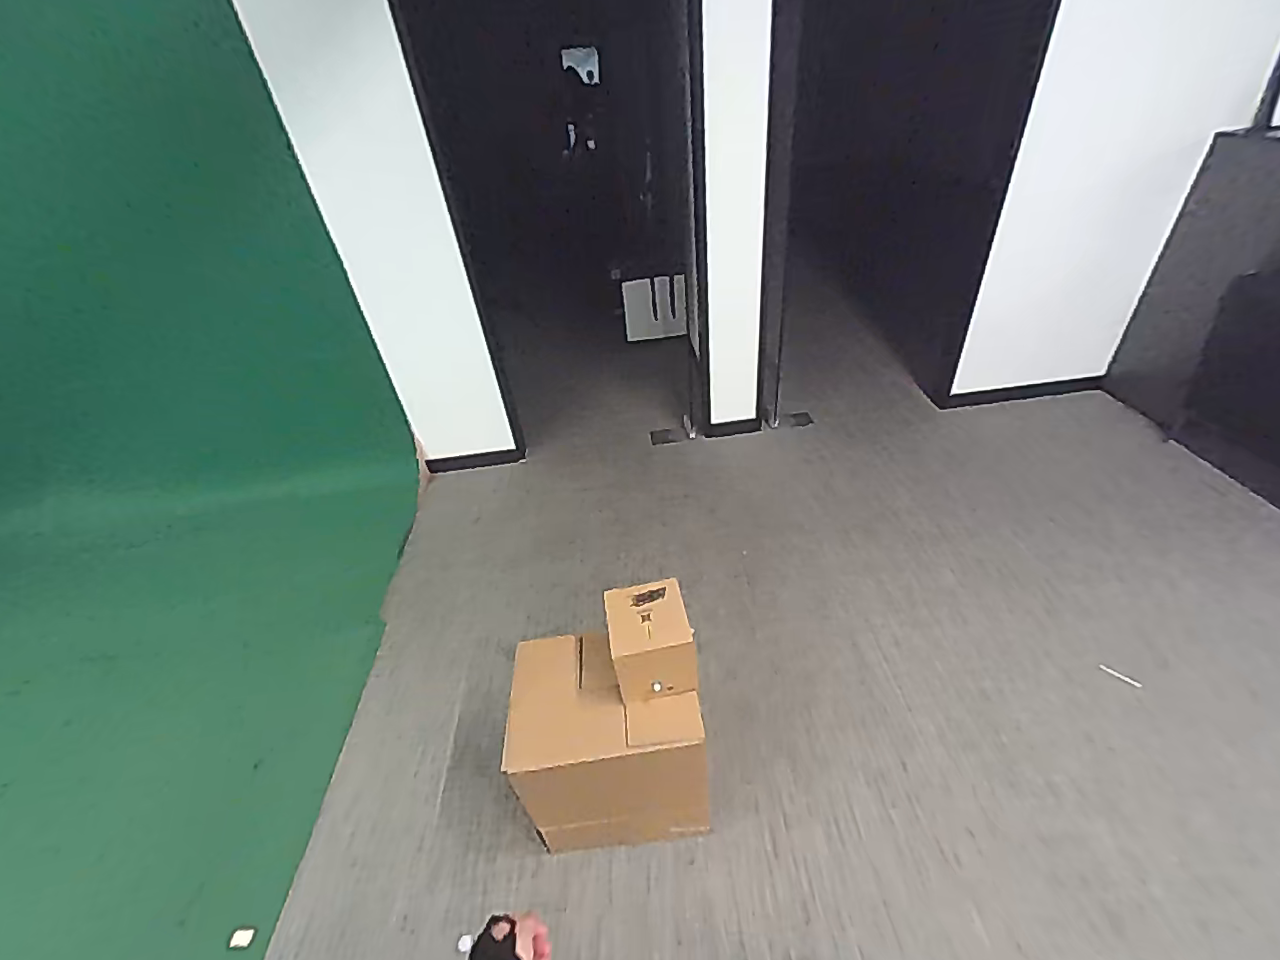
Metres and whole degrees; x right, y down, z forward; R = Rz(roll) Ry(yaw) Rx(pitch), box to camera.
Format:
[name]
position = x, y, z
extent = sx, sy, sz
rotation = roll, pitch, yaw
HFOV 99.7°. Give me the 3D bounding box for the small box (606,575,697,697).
[small box]
position = 0.025, 0.339, 1.178
extent = 0.168, 0.176, 0.179
rotation = -11, 39, -1
